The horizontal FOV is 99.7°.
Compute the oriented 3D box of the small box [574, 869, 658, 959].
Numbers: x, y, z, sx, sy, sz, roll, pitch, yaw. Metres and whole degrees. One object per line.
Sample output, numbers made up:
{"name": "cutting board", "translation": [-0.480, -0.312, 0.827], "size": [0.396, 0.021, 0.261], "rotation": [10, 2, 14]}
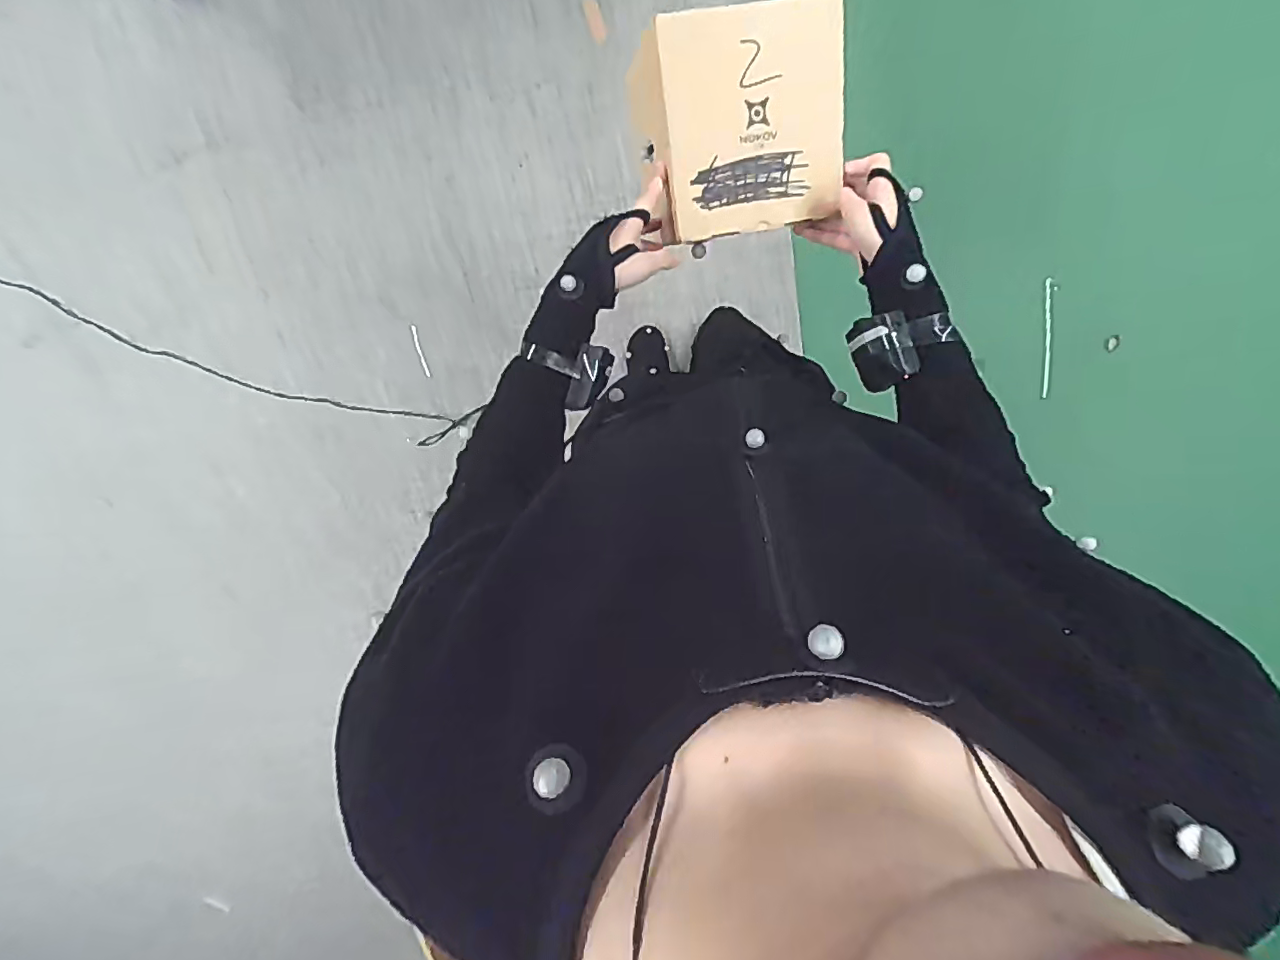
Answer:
{"name": "small box", "translation": [-0.052, 1.094, 1.309], "size": [0.168, 0.176, 0.179], "rotation": [-13, 105, 2]}

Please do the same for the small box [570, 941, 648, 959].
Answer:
{"name": "small box", "translation": [-0.060, 1.126, 1.147], "size": [0.168, 0.176, 0.179], "rotation": [-13, 105, 3]}
